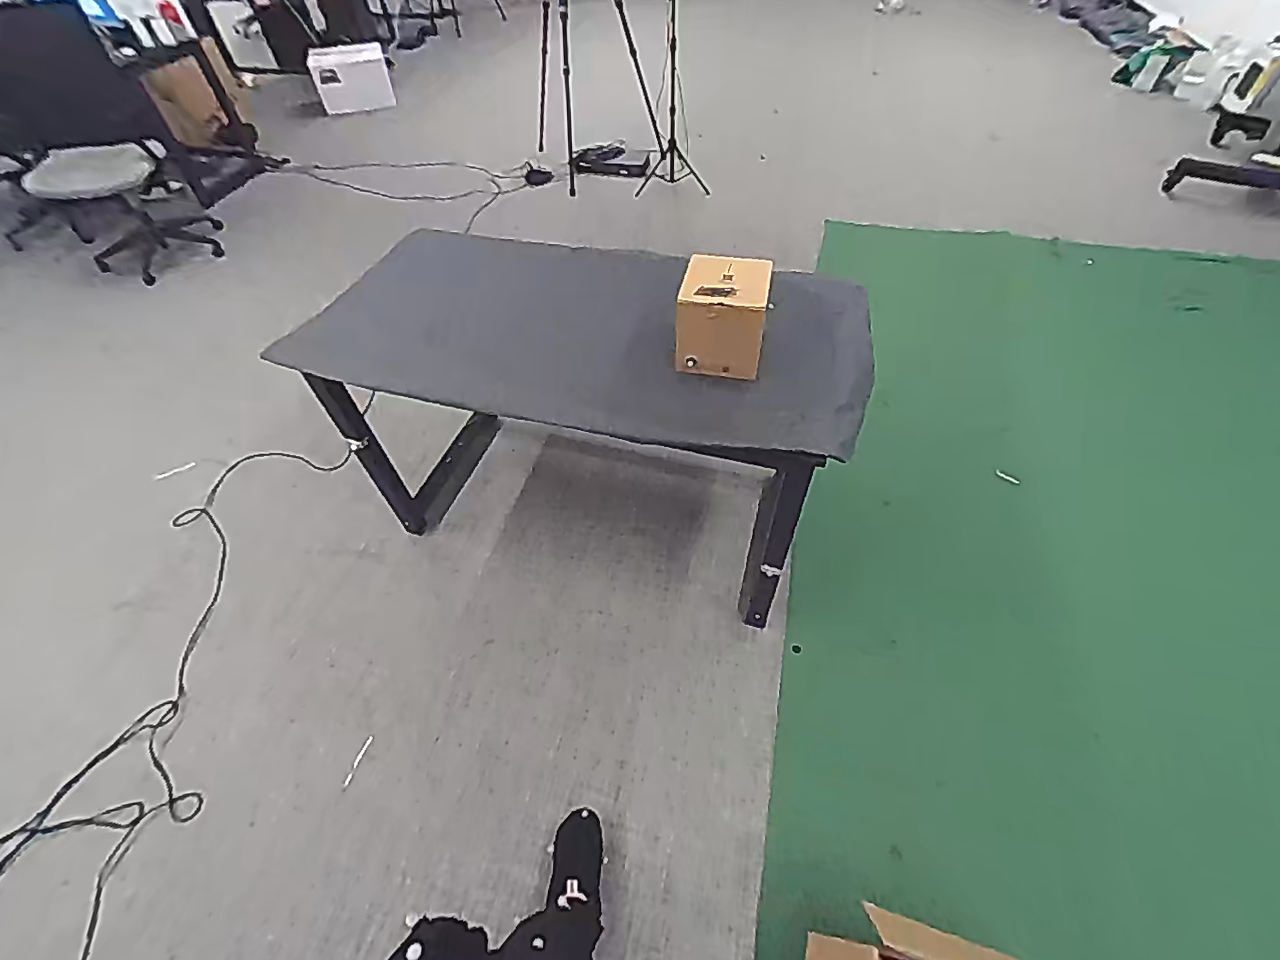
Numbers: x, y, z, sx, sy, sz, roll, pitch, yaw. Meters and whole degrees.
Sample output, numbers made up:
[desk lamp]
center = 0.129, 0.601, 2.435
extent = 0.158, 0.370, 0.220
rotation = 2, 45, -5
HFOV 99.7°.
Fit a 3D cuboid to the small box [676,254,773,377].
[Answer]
[small box]
center = 0.169, -0.330, 1.093
extent = 0.168, 0.176, 0.179
rotation = 9, 51, 10
